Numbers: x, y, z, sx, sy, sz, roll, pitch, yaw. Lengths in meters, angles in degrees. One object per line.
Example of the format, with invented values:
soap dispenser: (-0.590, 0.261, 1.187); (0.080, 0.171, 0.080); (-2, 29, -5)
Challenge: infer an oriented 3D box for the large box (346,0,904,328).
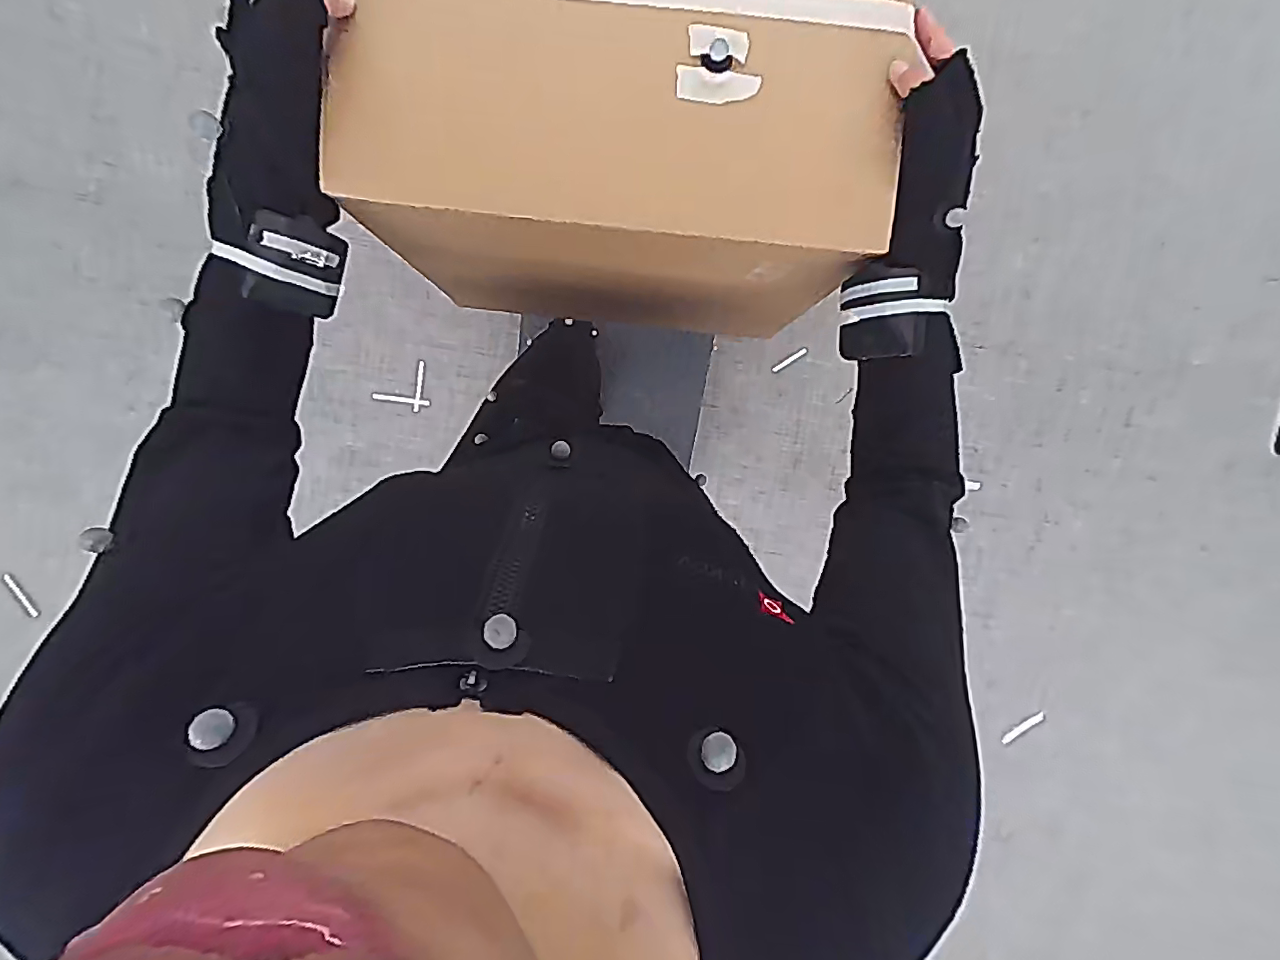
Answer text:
large box: (-0.012, -0.354, 0.539); (0.408, 0.320, 0.320); (5, 93, -2)
